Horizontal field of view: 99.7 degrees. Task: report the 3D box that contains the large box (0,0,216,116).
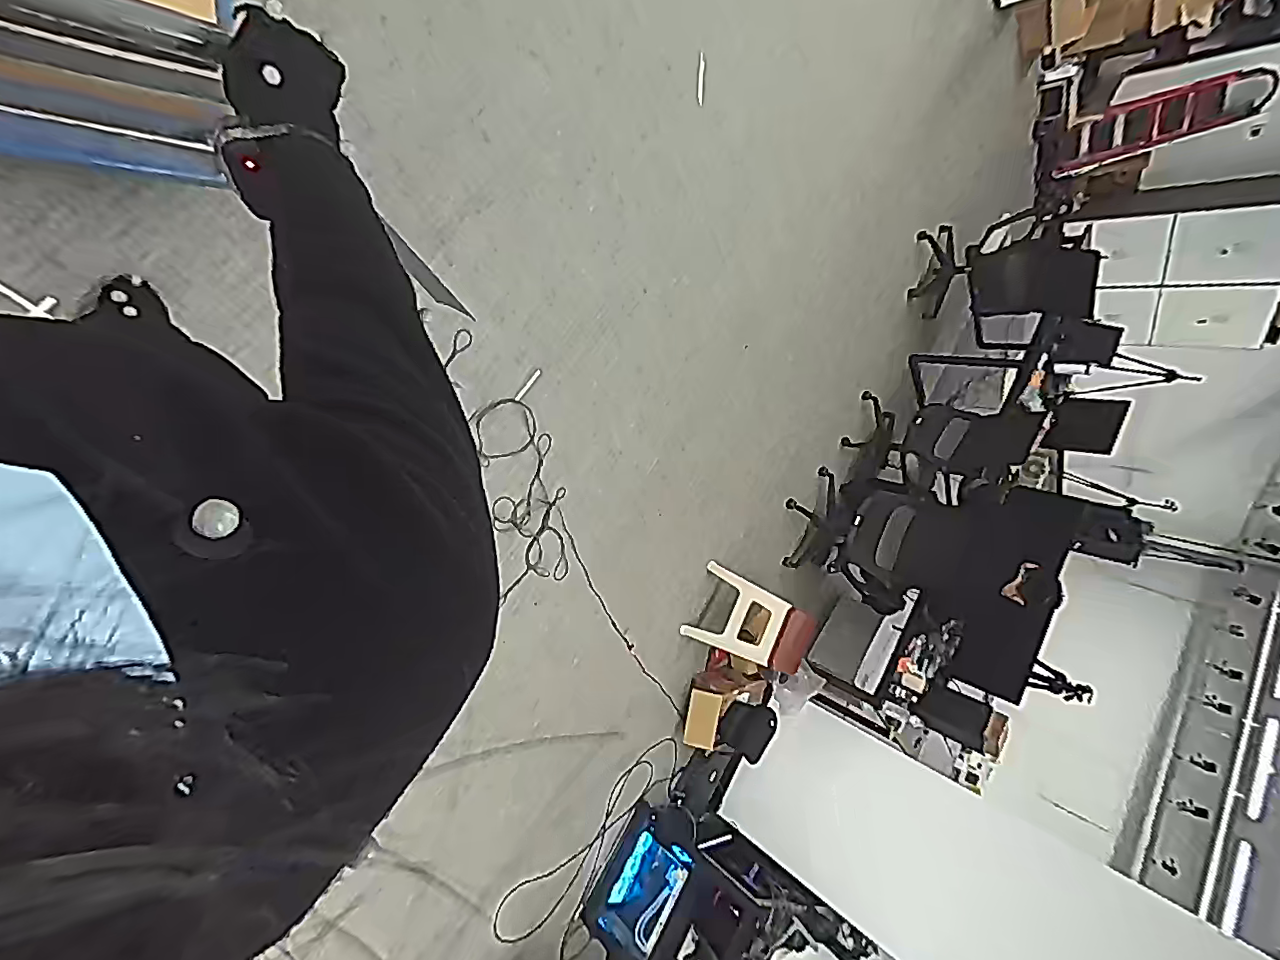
[{"bbox_3d":[-0.828,-0.710,0.668,0.408,0.320,0.320,-14,113,-44],"label":"large box"}]
